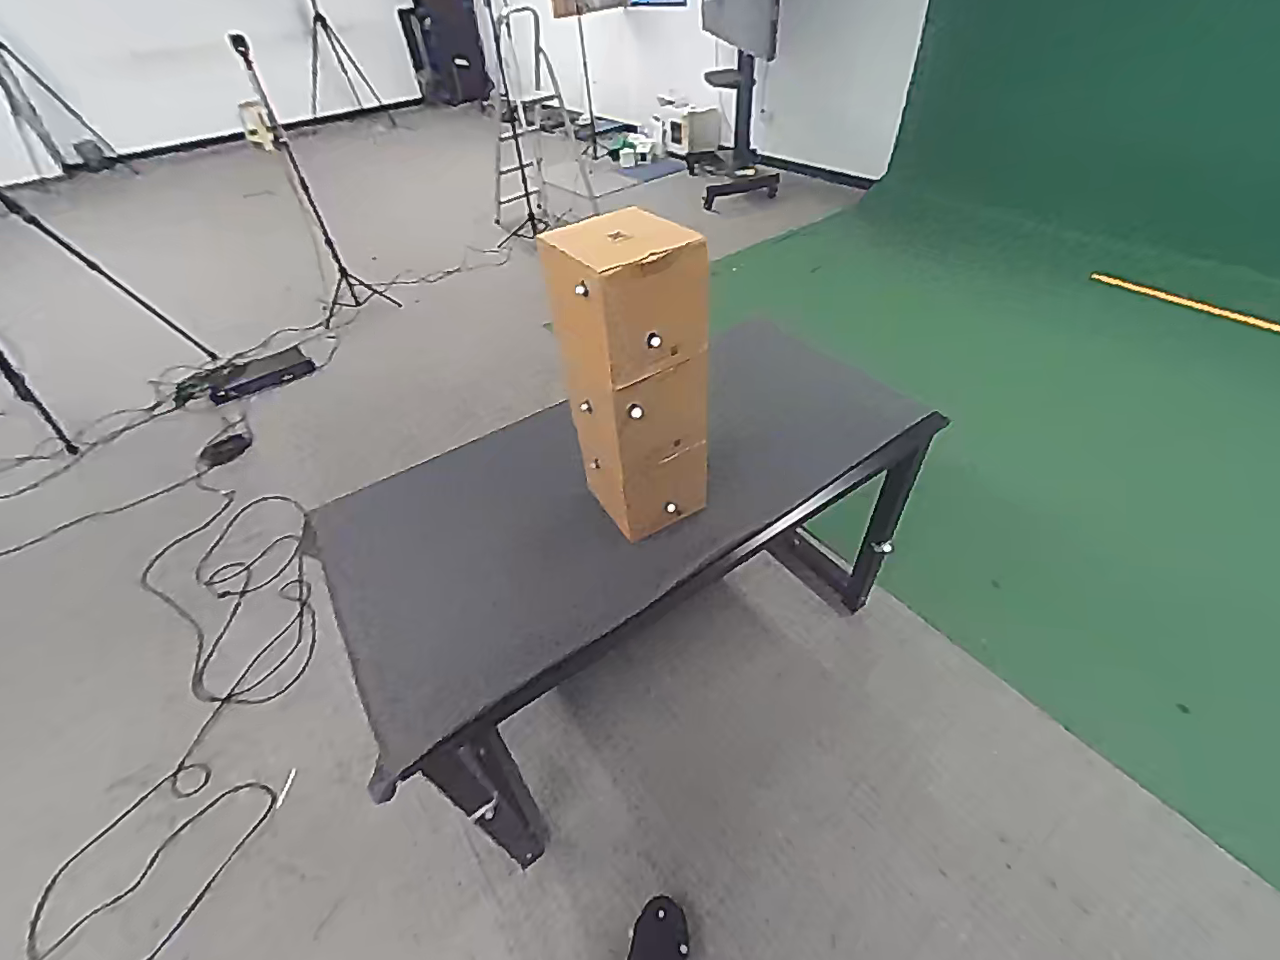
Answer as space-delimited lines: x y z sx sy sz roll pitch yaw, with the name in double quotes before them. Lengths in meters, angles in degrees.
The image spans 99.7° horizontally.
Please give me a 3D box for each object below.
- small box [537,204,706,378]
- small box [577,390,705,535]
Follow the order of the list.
"small box" -0.024 -0.270 0.768 0.168 0.176 0.179 -28 47 -22
"small box" 0.002 -0.033 0.991 0.168 0.176 0.179 -25 47 -19
